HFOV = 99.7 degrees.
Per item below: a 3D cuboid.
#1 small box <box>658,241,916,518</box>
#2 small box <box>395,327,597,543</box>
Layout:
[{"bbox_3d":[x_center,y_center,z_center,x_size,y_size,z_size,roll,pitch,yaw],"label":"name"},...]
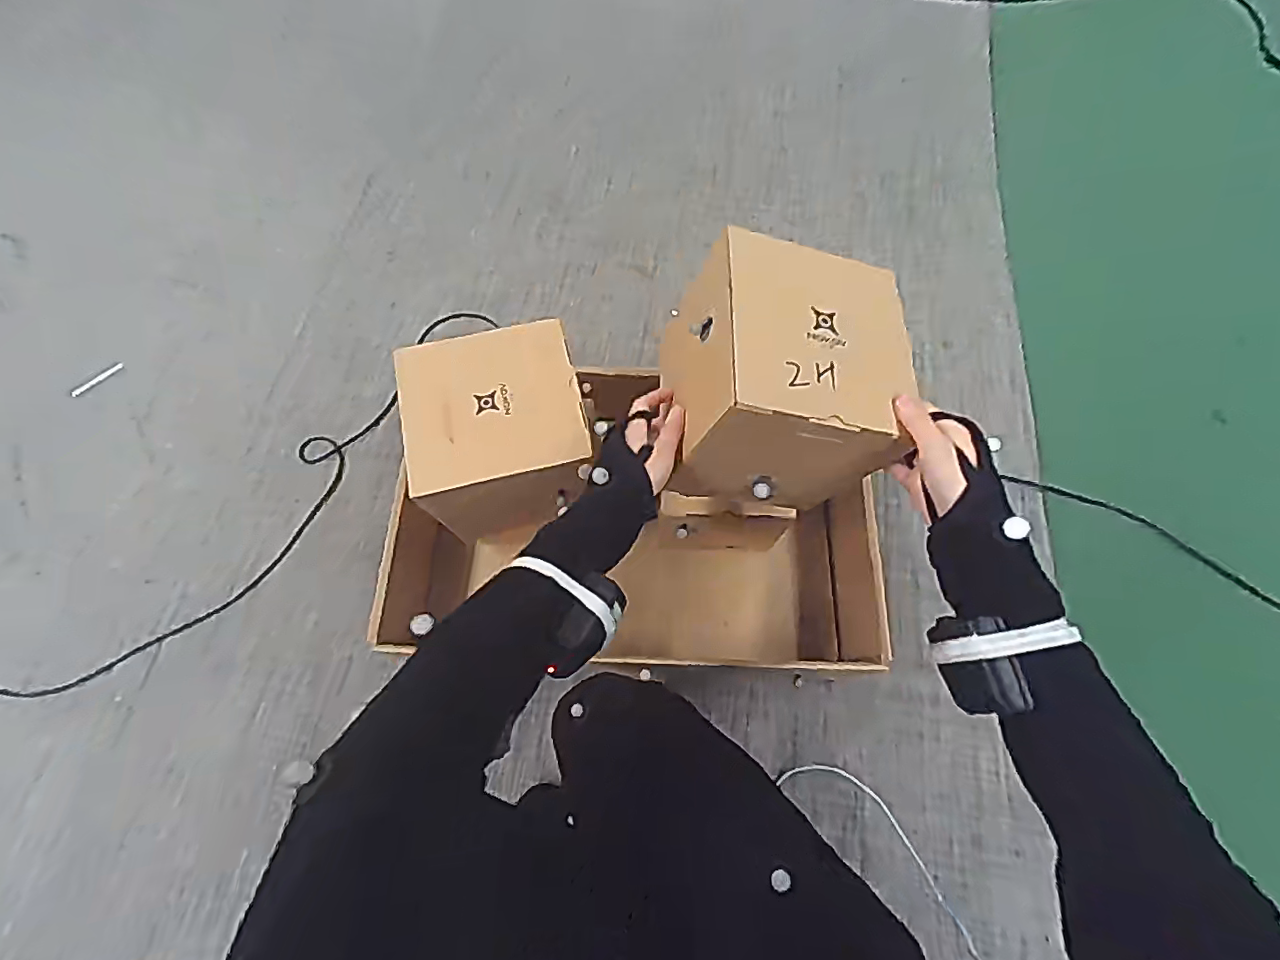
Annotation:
[{"bbox_3d":[0.119,-0.080,0.508,0.168,0.176,0.179,8,66,-14],"label":"small box"},{"bbox_3d":[-0.148,-0.041,0.606,0.179,0.176,0.168,-13,70,-4],"label":"small box"}]
